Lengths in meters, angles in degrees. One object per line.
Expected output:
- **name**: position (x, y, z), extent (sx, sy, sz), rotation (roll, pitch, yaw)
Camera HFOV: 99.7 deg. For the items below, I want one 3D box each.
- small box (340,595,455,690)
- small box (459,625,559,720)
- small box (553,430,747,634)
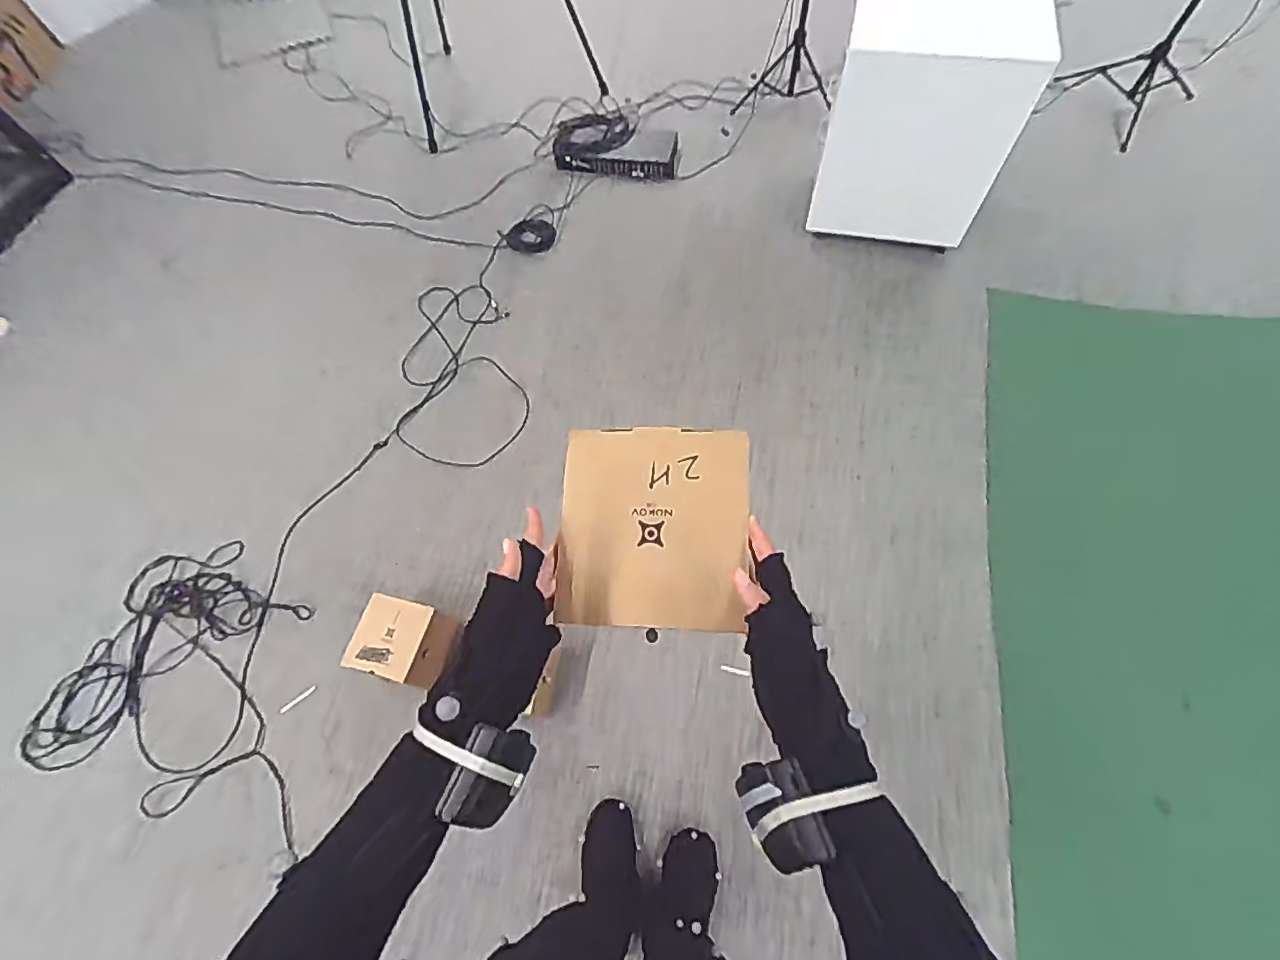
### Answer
- **small box**: position (-0.581, 0.403, 1.323), extent (0.168, 0.176, 0.179), rotation (12, 64, 10)
- **small box**: position (-0.298, 0.459, 1.279), extent (0.168, 0.176, 0.179), rotation (7, 65, 8)
- **small box**: position (0.020, 0.059, 0.550), extent (0.168, 0.176, 0.179), rotation (1, 75, 7)
